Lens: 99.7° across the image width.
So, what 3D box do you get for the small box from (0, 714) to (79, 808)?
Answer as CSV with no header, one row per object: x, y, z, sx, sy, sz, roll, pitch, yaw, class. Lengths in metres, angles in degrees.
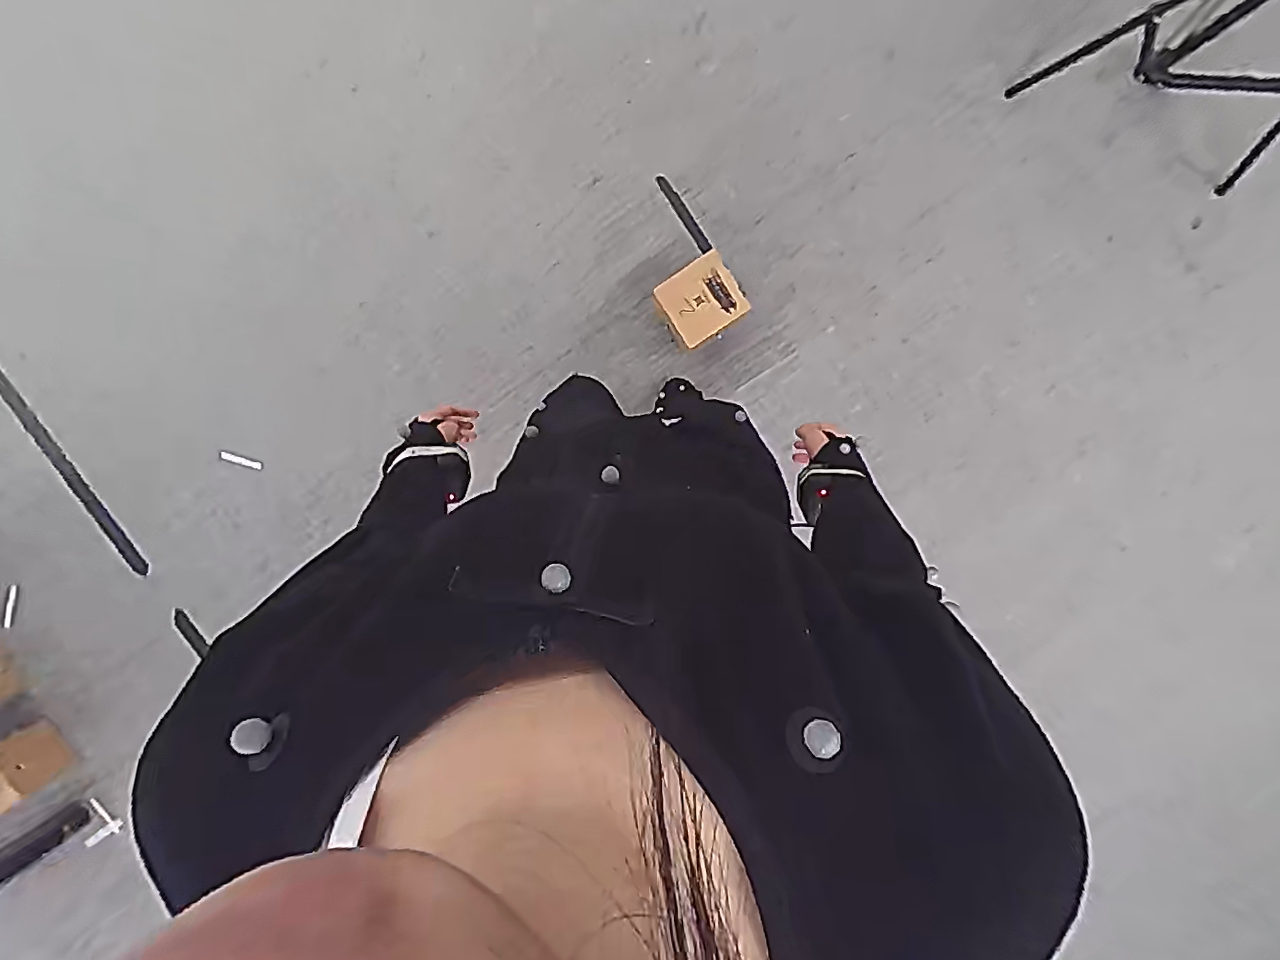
-1.824,0.826,1.577,0.168,0.176,0.179,-31,95,4,small box

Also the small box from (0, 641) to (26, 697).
-1.956,0.578,1.547,0.168,0.176,0.179,-28,96,5,small box
